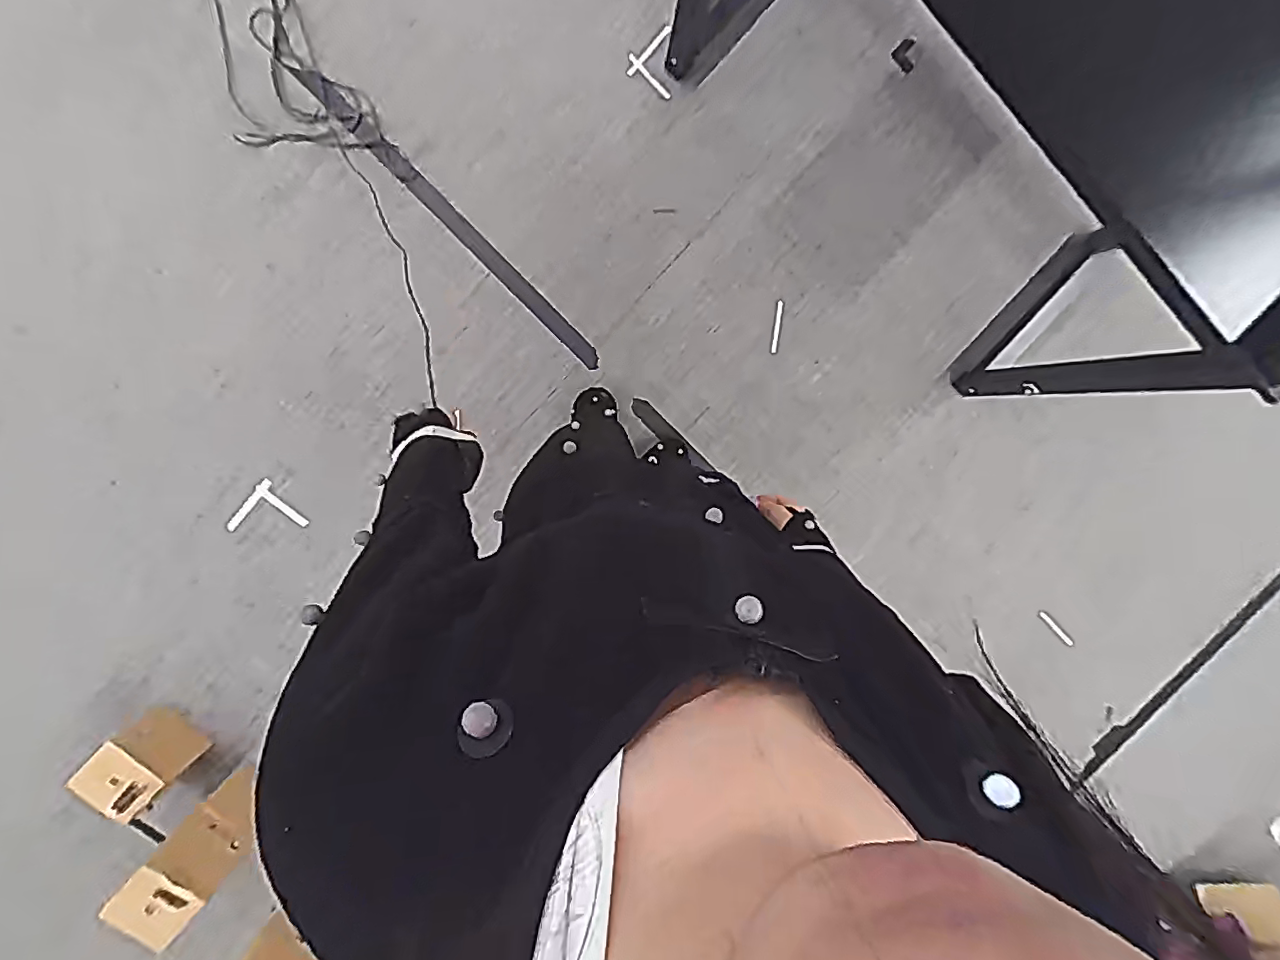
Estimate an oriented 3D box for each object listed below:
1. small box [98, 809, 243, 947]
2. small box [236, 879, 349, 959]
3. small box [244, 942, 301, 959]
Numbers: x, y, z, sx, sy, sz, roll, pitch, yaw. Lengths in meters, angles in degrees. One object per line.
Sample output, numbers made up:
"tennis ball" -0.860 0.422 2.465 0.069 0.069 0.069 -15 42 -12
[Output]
"small box" -1.114 0.949 1.305 0.168 0.176 0.179 43 94 -9
"small box" -0.876 1.161 1.359 0.179 0.176 0.168 36 93 -8
"small box" -0.855 1.191 1.200 0.179 0.176 0.168 36 93 -9
